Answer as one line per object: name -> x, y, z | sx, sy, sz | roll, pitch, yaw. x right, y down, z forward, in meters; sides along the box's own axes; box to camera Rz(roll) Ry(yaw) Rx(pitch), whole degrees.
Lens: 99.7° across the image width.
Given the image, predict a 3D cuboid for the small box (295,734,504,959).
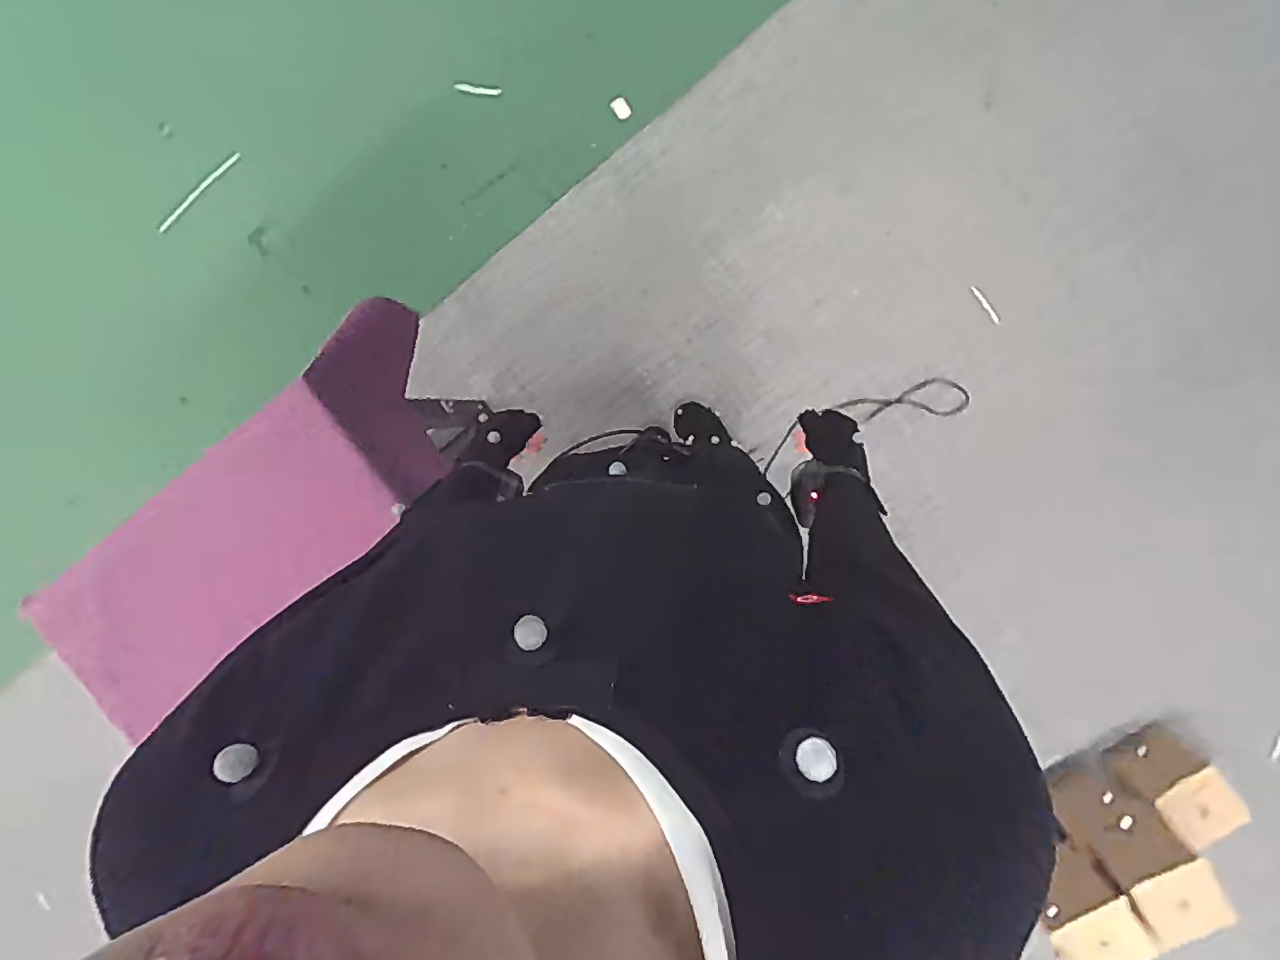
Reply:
small box -> -0.310, 0.494, 0.747 | 0.179, 0.176, 0.168 | -35, 93, 8
